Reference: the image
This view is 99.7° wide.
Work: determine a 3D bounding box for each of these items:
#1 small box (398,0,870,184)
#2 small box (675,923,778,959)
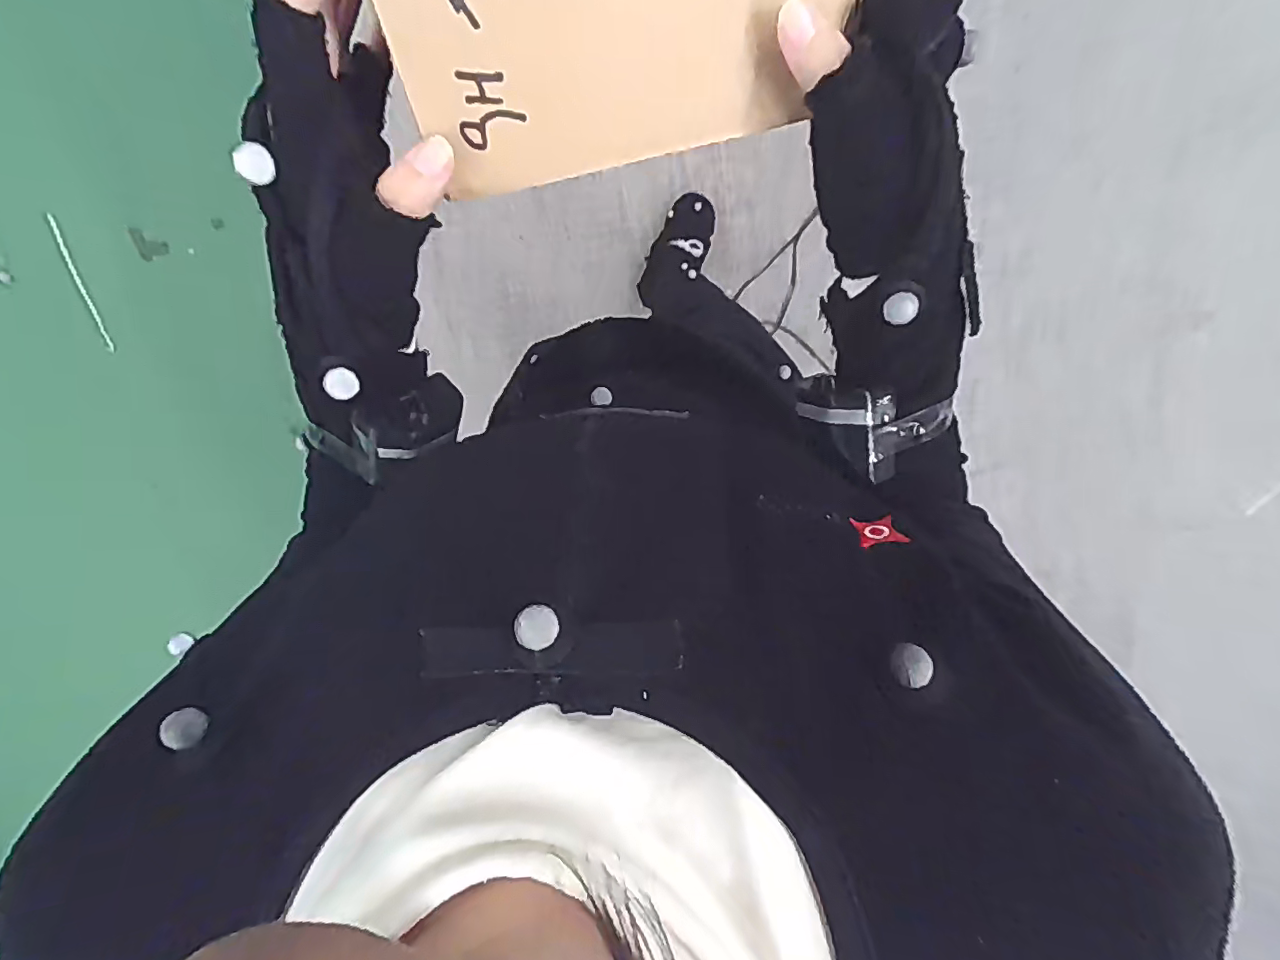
[{"bbox_3d":[-0.020,-0.248,0.223,0.179,0.176,0.168,-16,133,-6],"label":"small box"},{"bbox_3d":[0.152,0.888,0.906,0.179,0.176,0.168,-7,110,3],"label":"small box"}]
